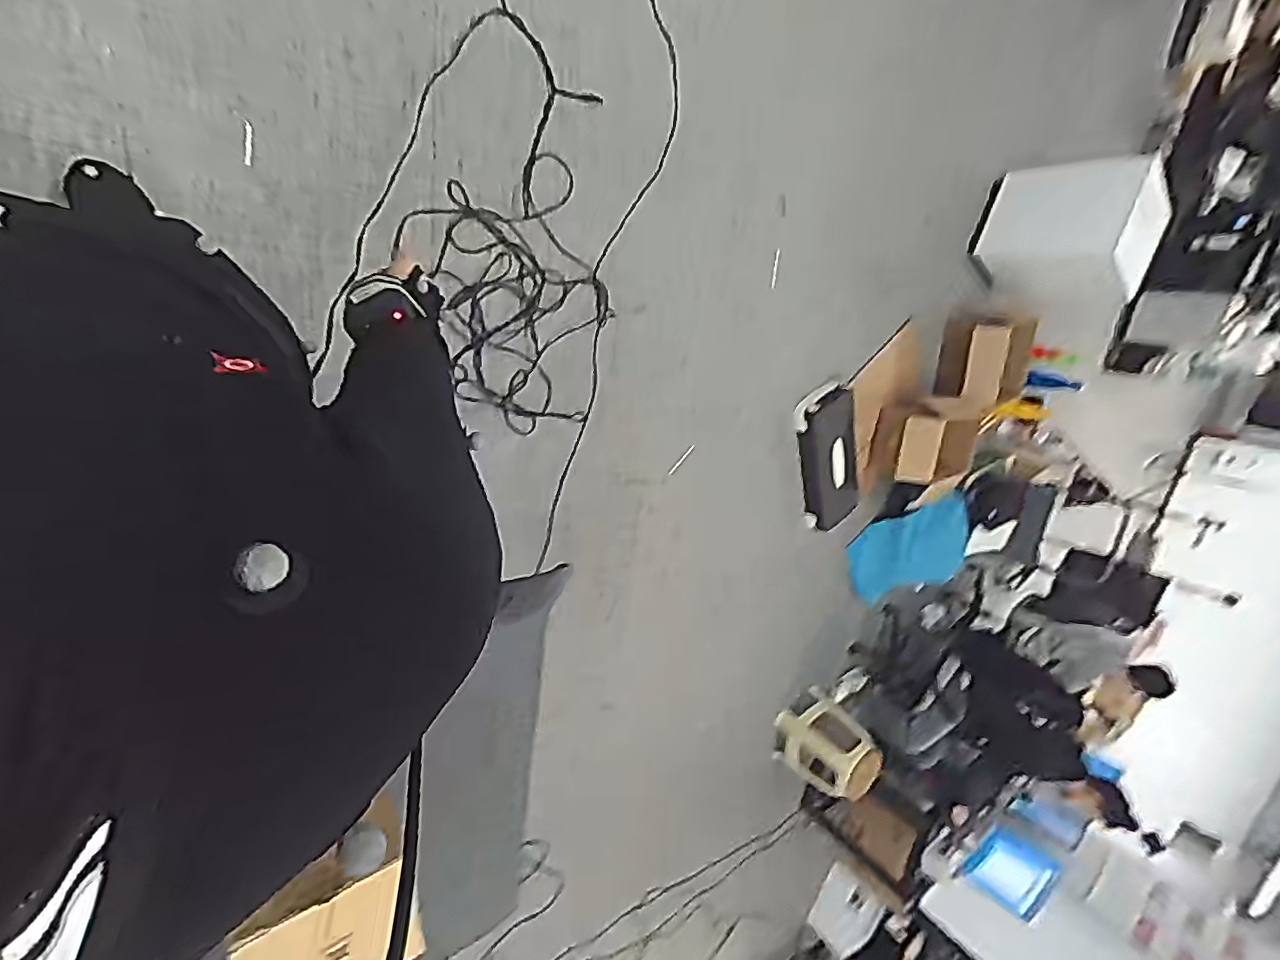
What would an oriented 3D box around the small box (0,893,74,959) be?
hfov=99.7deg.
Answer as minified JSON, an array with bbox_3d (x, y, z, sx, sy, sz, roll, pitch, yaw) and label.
[{"bbox_3d":[-0.614,0.519,0.461,0.168,0.176,0.179,-7,111,-37],"label":"small box"}]

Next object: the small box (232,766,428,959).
[{"bbox_3d":[-0.369,0.481,0.645,0.168,0.176,0.179,-13,117,-34],"label":"small box"}]
